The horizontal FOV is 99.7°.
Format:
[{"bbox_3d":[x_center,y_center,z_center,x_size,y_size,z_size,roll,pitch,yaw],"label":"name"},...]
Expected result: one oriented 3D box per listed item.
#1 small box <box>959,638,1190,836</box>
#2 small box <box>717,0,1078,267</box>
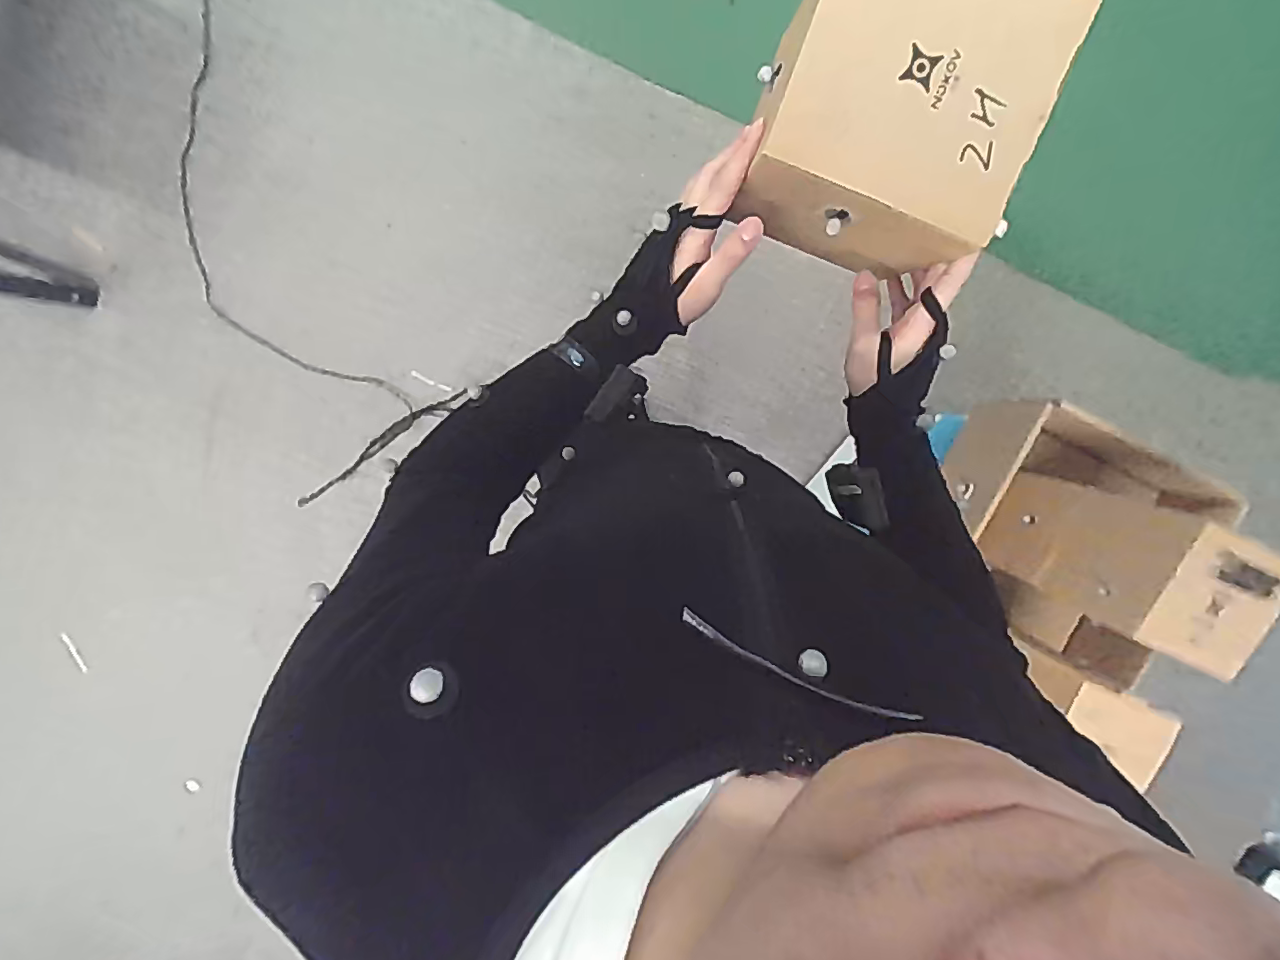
[{"bbox_3d":[0.616,0.361,0.794,0.168,0.176,0.179,24,96,-5],"label":"small box"},{"bbox_3d":[0.176,-0.288,0.435,0.179,0.176,0.168,19,102,-5],"label":"small box"}]
